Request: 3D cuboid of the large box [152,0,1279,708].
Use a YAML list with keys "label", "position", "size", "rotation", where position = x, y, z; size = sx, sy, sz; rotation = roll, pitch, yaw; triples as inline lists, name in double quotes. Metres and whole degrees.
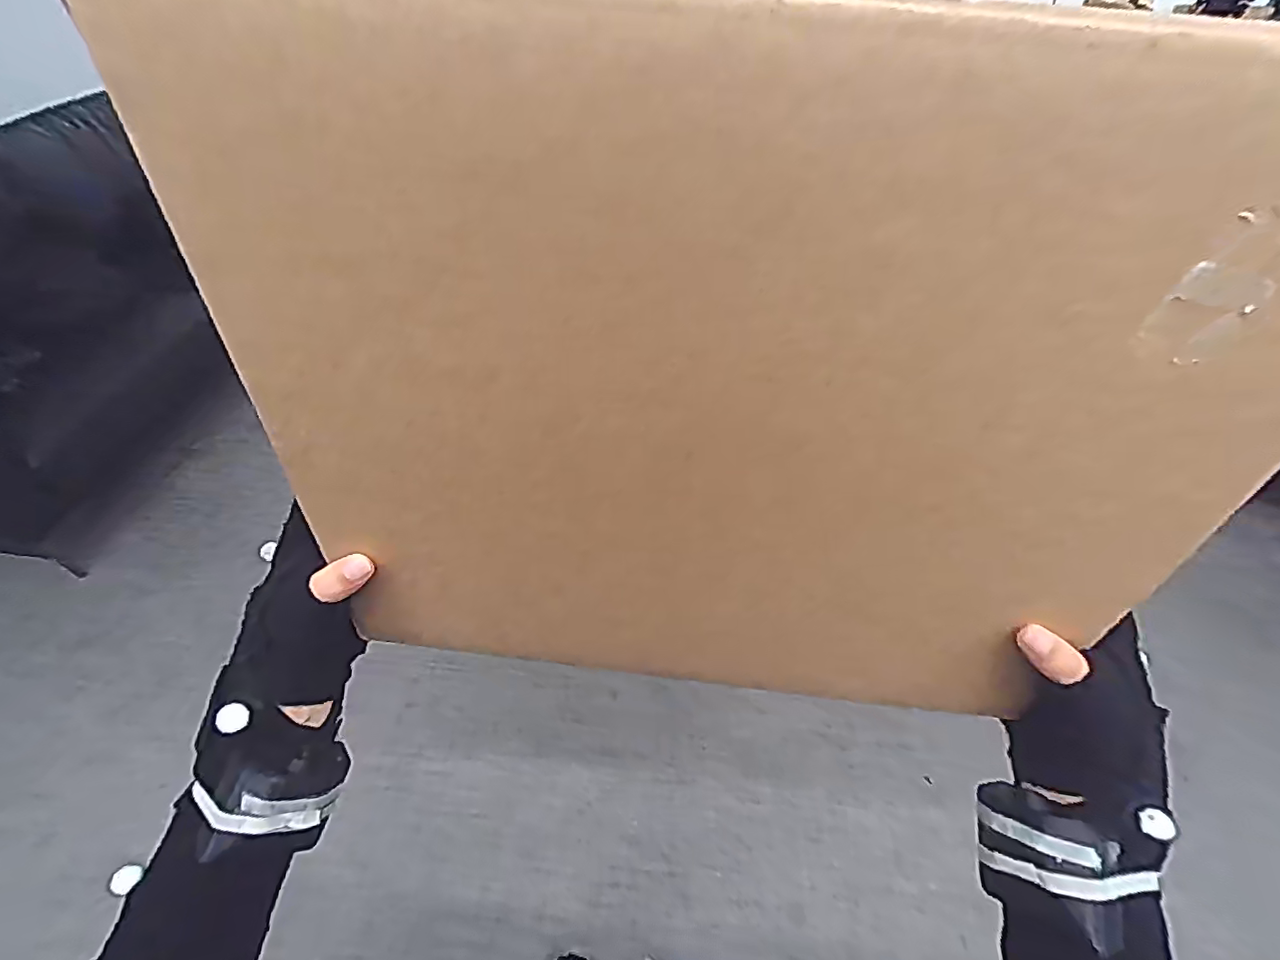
- label: "large box"
  position: [0.056, -0.089, 0.352]
  size: [0.408, 0.320, 0.320]
  rotation: [7, 40, 0]
